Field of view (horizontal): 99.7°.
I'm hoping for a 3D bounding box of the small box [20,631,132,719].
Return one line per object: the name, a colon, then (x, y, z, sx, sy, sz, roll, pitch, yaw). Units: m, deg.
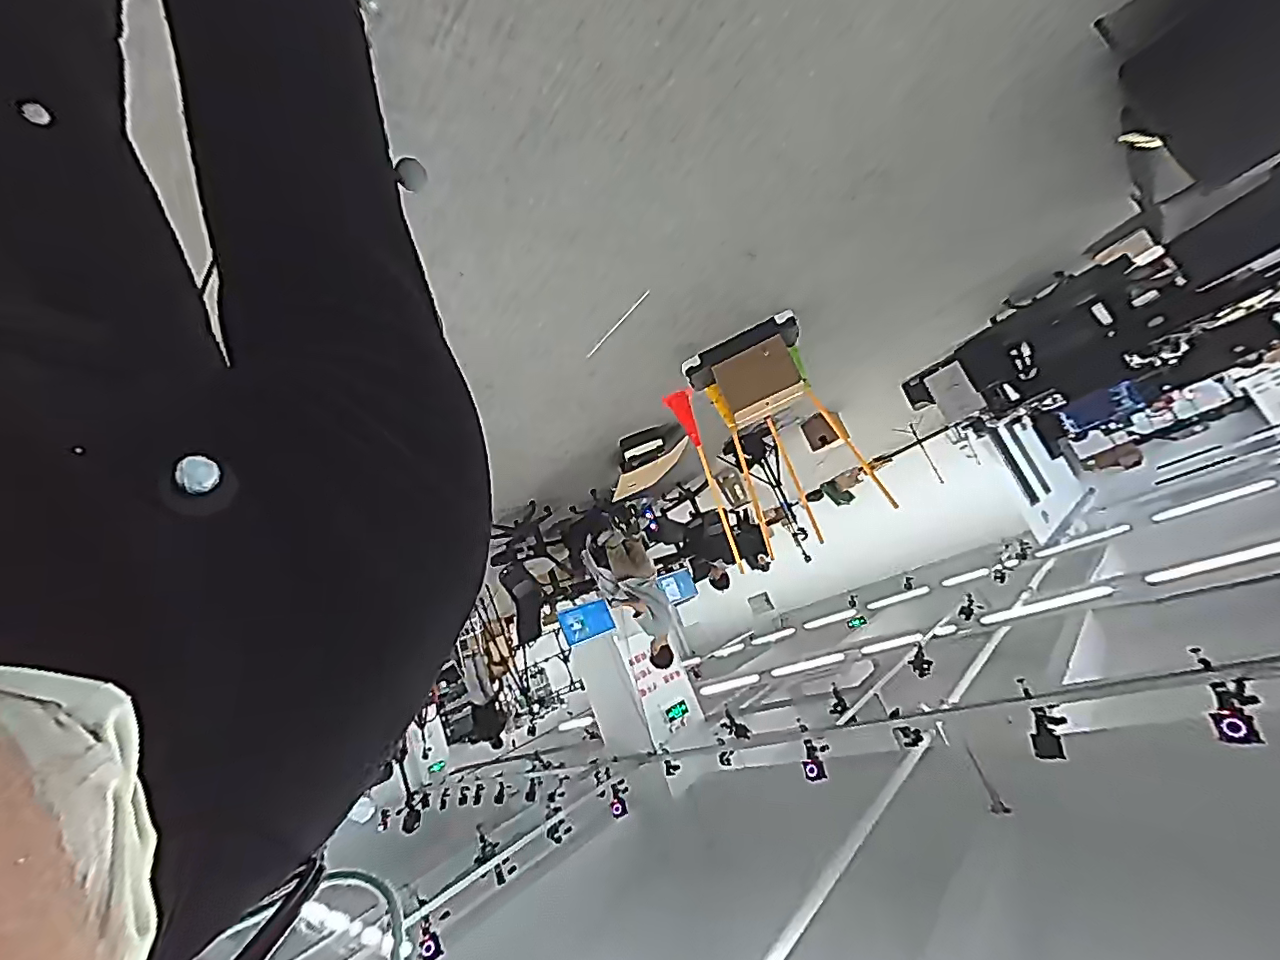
small box: (-1.472, 0.508, 1.419, 0.168, 0.176, 0.179, -13, 166, -37)
